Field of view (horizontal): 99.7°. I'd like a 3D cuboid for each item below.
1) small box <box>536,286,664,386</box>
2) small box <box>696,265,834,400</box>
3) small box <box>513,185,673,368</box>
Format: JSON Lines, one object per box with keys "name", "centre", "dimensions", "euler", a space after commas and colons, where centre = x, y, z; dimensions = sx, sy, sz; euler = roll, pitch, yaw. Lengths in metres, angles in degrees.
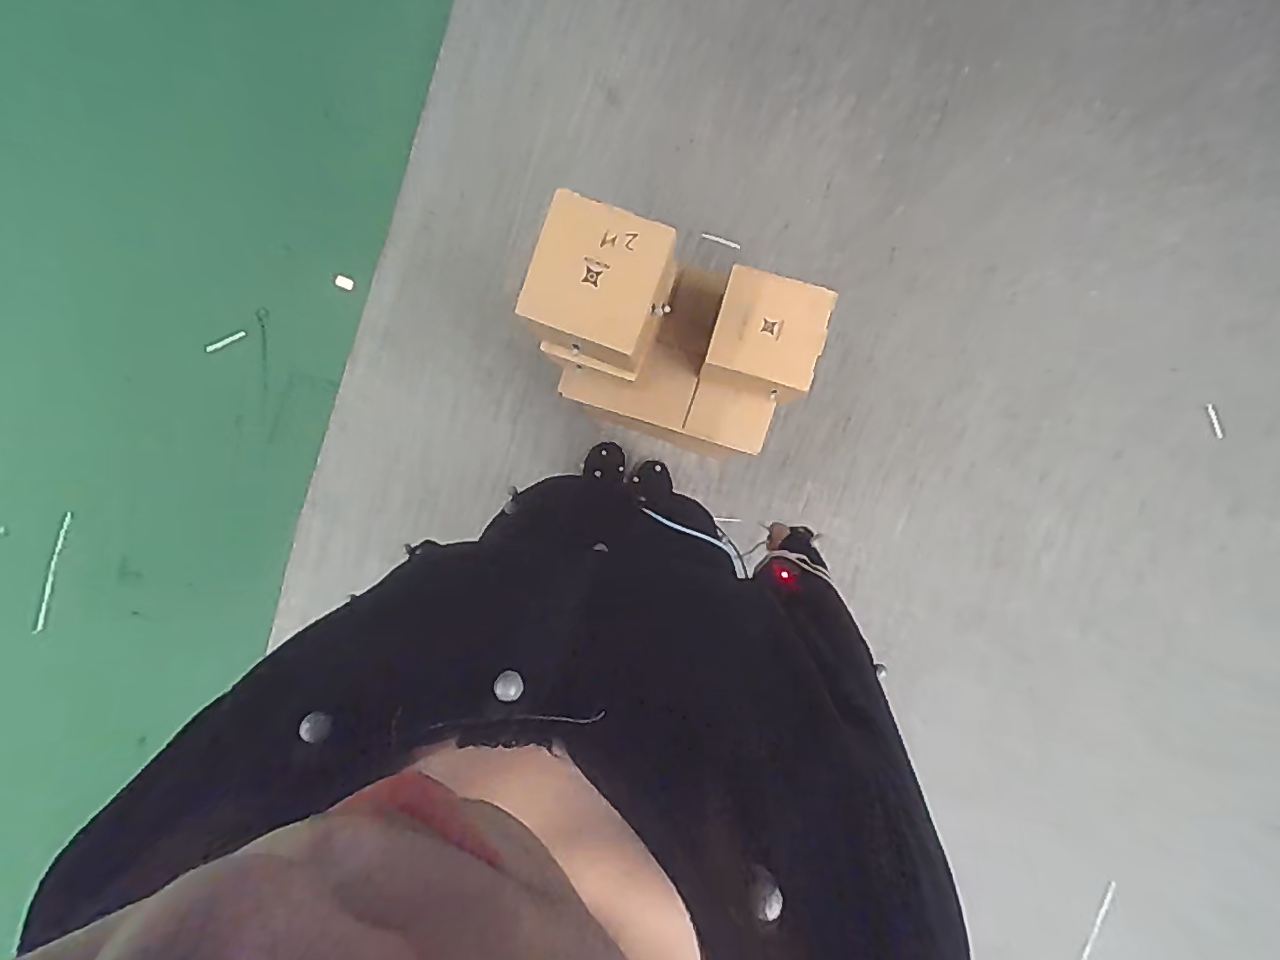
{"name": "small box", "centre": [-0.063, -0.275, 0.946], "dimensions": [0.168, 0.176, 0.179], "euler": [20, 94, -1]}
{"name": "small box", "centre": [0.206, -0.245, 0.944], "dimensions": [0.179, 0.176, 0.168], "euler": [18, 92, 2]}
{"name": "small box", "centre": [-0.060, -0.276, 0.781], "dimensions": [0.168, 0.176, 0.179], "euler": [21, 94, -2]}
